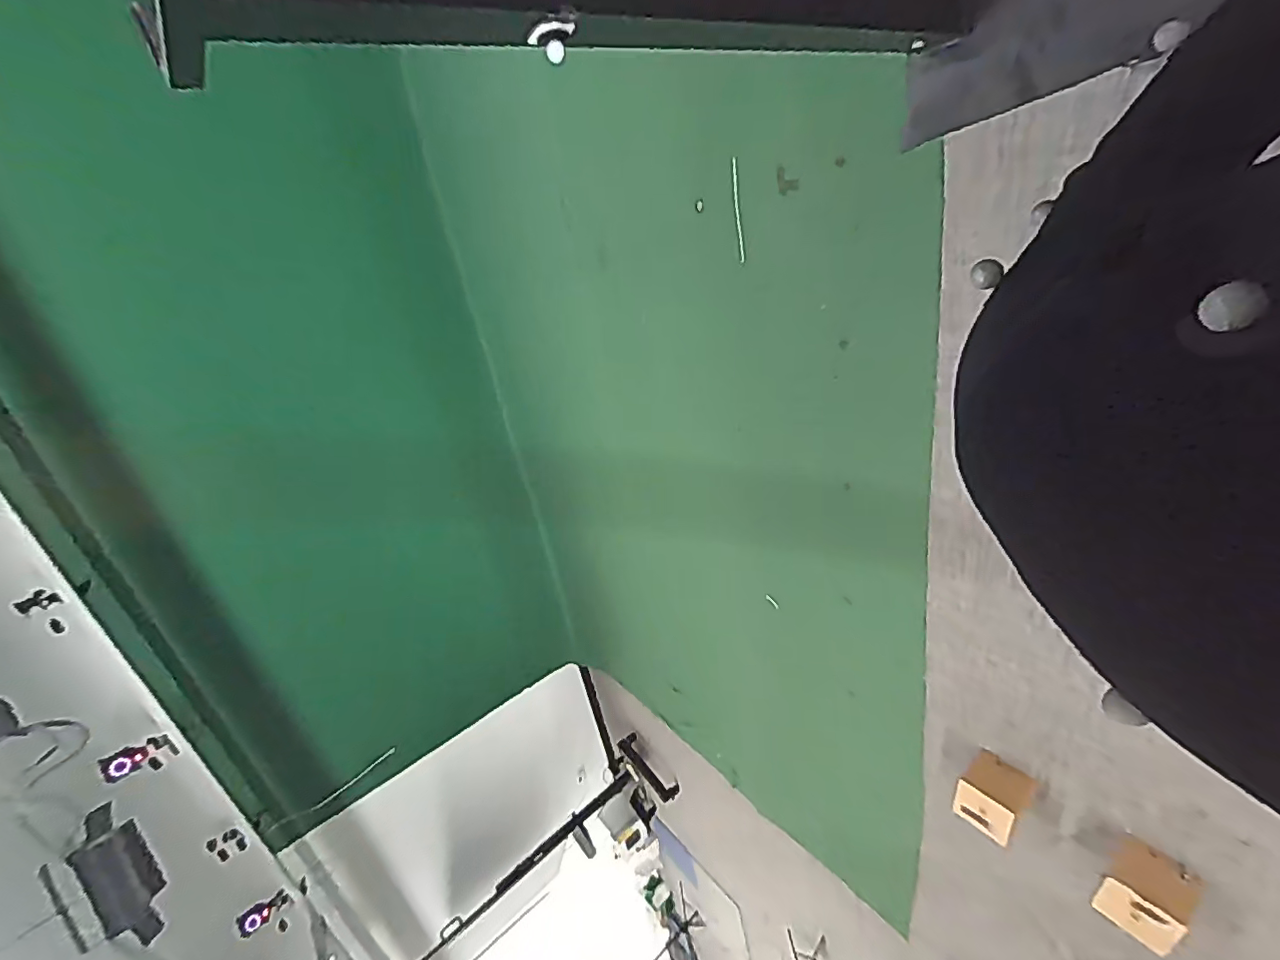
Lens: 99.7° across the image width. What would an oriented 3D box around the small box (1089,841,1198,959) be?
[{"bbox_3d":[1.407,1.165,1.509,0.168,0.176,0.179,28,135,46],"label":"small box"}]
